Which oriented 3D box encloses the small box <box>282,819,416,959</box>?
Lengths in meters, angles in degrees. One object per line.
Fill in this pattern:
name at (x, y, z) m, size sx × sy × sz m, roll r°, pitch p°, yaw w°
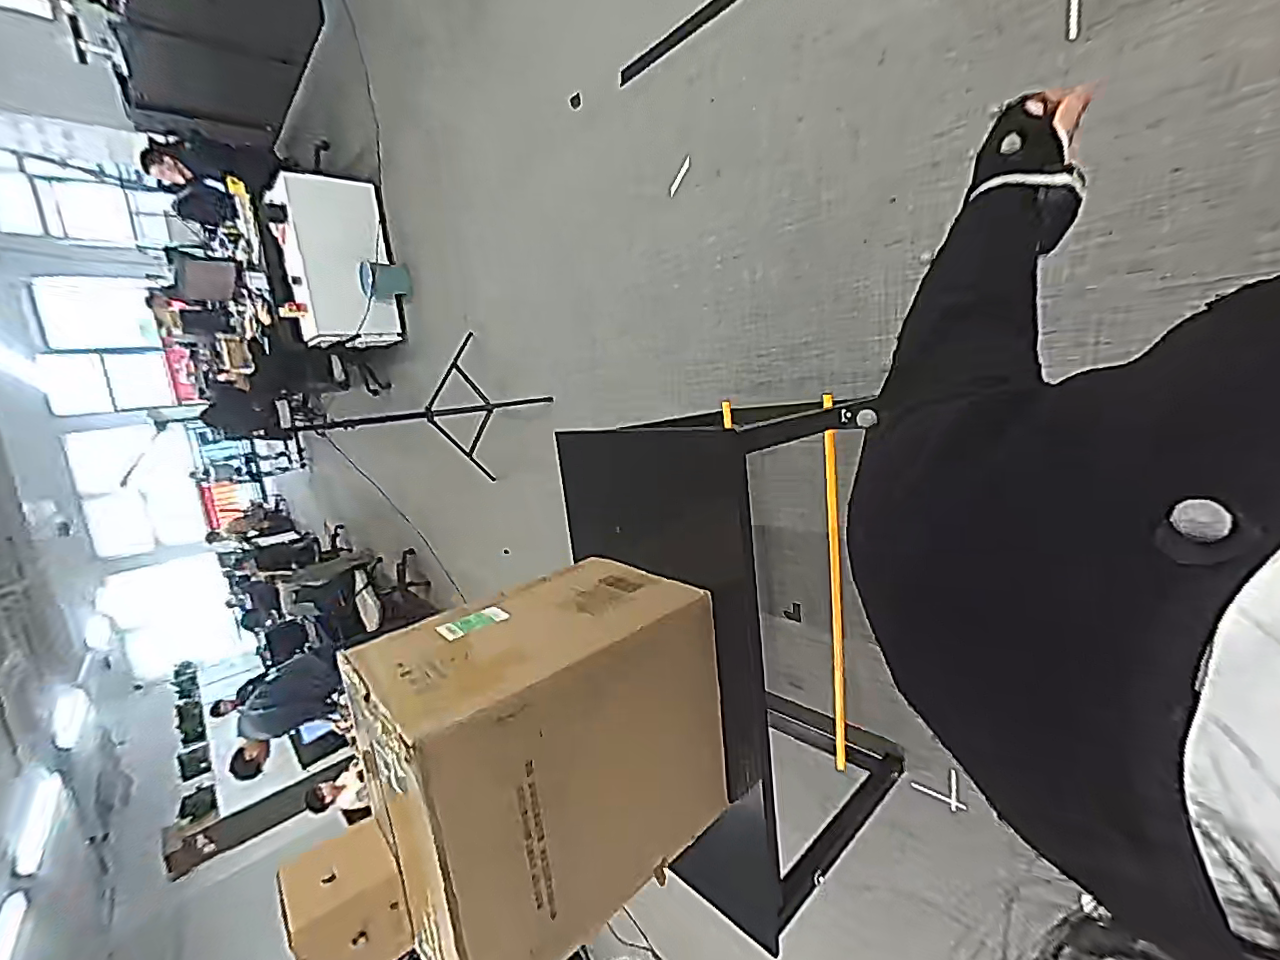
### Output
small box at (-0.514, 0.756, 0.966) m, size 0.179 × 0.176 × 0.168 m, roll 6°, pitch 106°, yaw 50°
